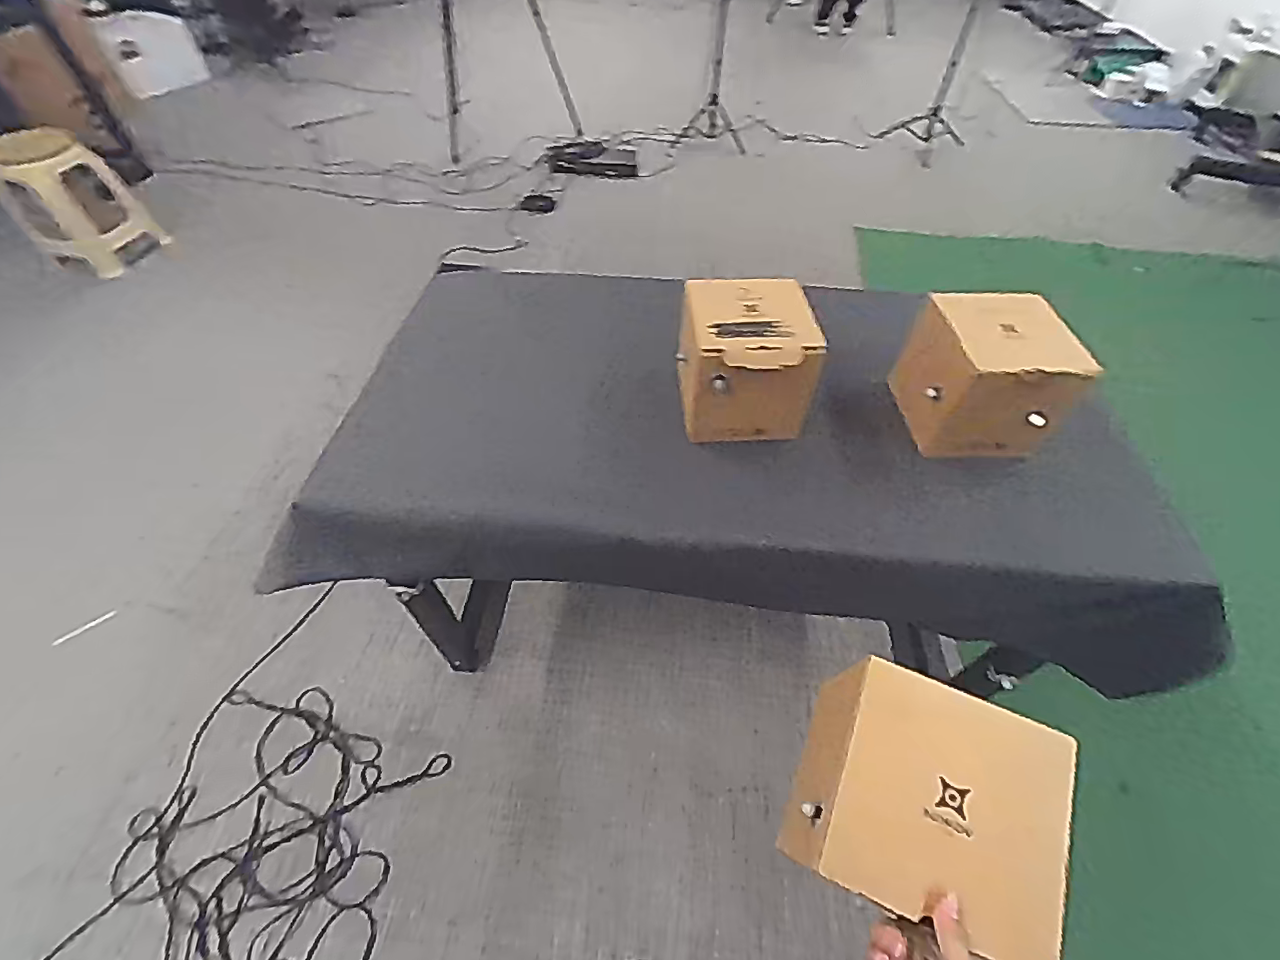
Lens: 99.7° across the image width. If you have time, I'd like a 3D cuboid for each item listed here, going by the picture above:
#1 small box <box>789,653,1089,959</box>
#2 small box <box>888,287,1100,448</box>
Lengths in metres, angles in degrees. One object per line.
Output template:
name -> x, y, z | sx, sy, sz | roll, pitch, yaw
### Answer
small box -> 0.247, 0.284, 0.480 | 0.168, 0.176, 0.179 | 22, 65, 14
small box -> 0.495, -0.161, 0.791 | 0.168, 0.176, 0.179 | 0, 51, -2
